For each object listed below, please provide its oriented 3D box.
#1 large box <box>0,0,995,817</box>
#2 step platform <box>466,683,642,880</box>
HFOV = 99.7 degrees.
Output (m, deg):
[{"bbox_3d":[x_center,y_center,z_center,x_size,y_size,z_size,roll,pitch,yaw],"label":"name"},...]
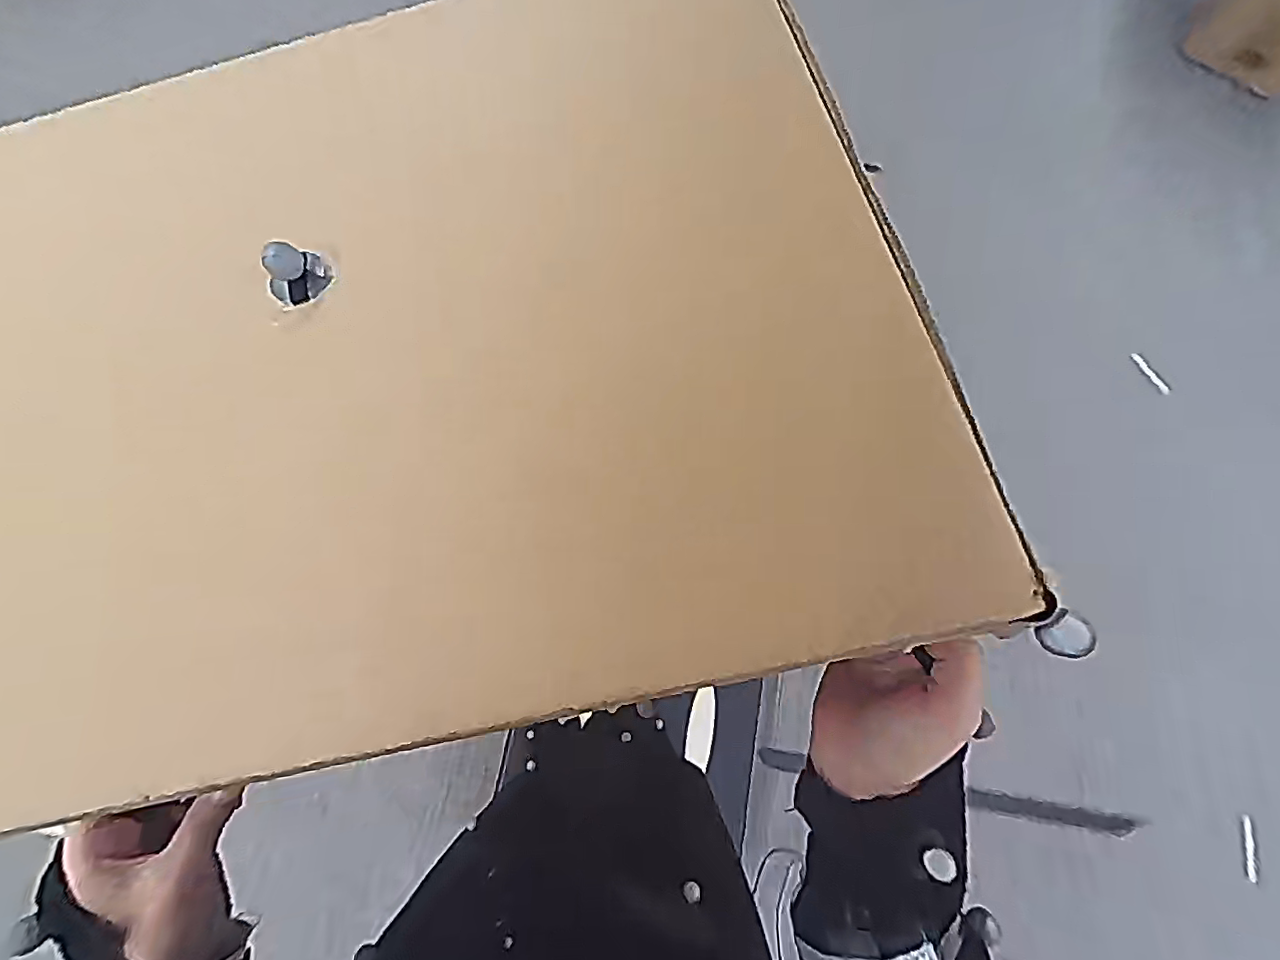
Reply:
[{"bbox_3d":[-0.109,-0.022,0.339,0.408,0.320,0.320,-14,72,5],"label":"large box"},{"bbox_3d":[-0.156,0.510,1.260,0.286,0.204,0.684,16,75,-1],"label":"step platform"}]
